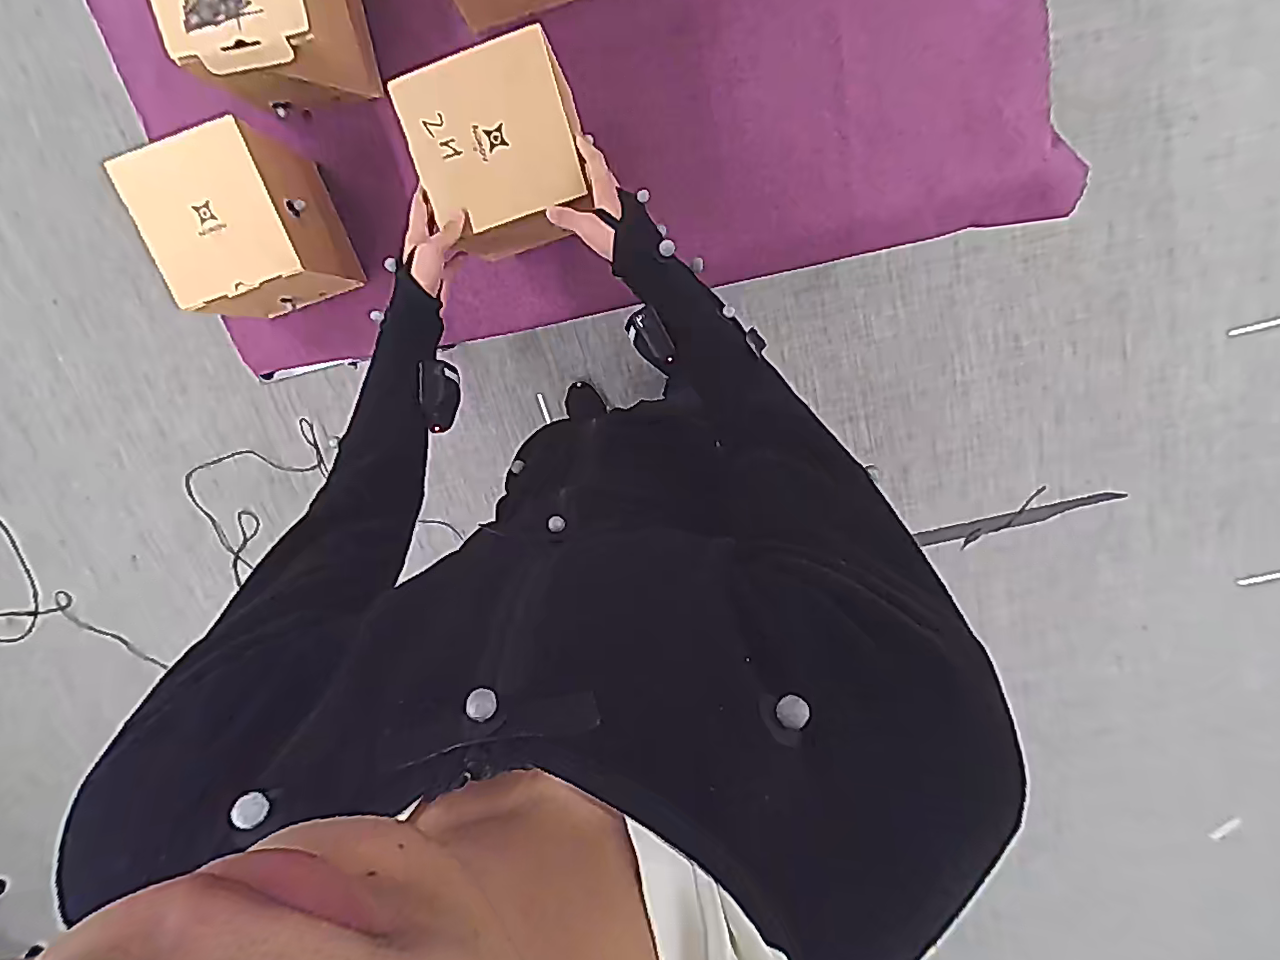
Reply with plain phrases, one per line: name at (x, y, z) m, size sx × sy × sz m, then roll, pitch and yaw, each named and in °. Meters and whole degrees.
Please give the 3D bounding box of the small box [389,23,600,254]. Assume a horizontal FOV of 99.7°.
small box at (-0.153, -0.384, 0.645) m, size 0.179 × 0.176 × 0.168 m, roll -14°, pitch 105°, yaw 8°

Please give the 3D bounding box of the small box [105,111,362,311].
small box at (-0.507, -0.332, 0.707) m, size 0.168 × 0.176 × 0.179 m, roll -18°, pitch 106°, yaw 4°

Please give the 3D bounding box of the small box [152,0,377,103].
small box at (-0.442, -0.576, 0.637) m, size 0.168 × 0.176 × 0.179 m, roll -8°, pitch 106°, yaw 3°
